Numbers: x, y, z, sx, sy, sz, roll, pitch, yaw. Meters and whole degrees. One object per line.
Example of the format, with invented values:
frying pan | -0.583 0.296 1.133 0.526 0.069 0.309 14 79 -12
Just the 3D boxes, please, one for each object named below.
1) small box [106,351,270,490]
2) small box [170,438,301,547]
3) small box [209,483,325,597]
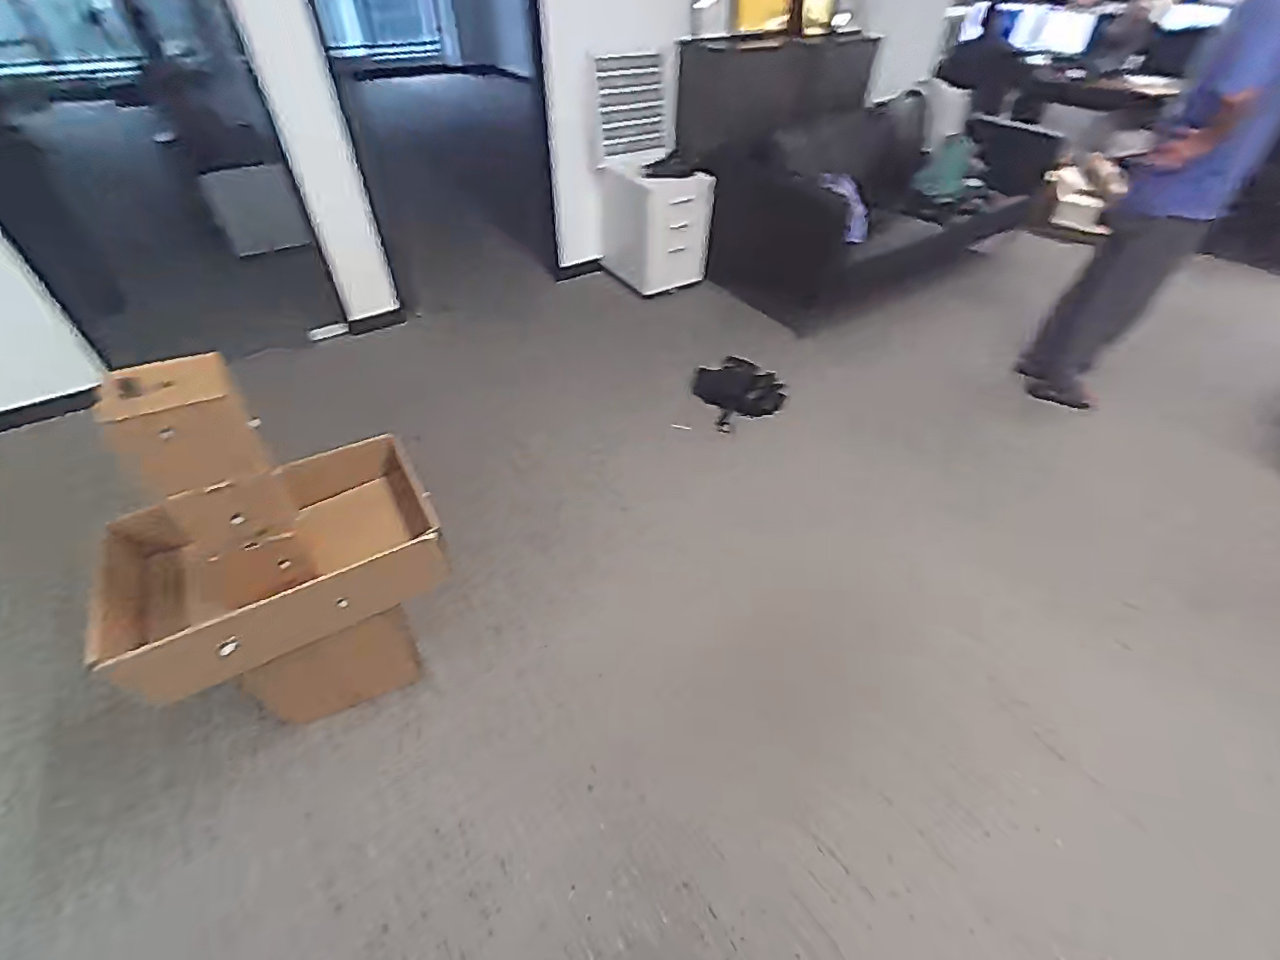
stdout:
small box | -0.816 -0.108 0.990 0.179 0.176 0.168 -21 49 -26
small box | -0.823 0.013 1.103 0.168 0.176 0.179 -23 51 -27
small box | -0.831 0.137 1.209 0.168 0.176 0.179 -21 47 -26
